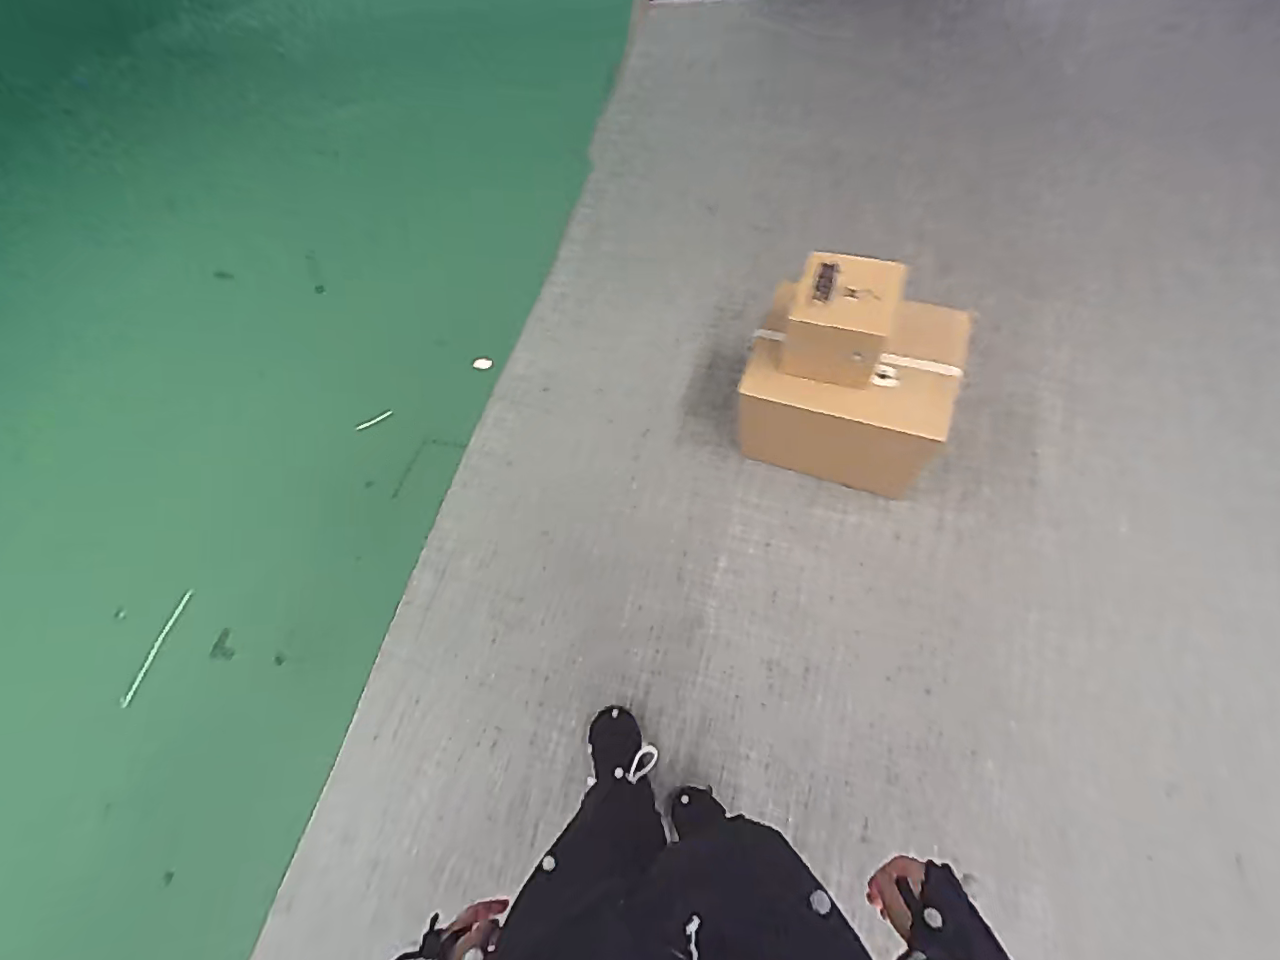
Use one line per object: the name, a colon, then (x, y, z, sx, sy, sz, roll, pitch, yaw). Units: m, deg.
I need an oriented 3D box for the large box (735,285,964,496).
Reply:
large box: (0.456, -0.199, 1.253, 0.408, 0.320, 0.320, 17, 72, 15)
